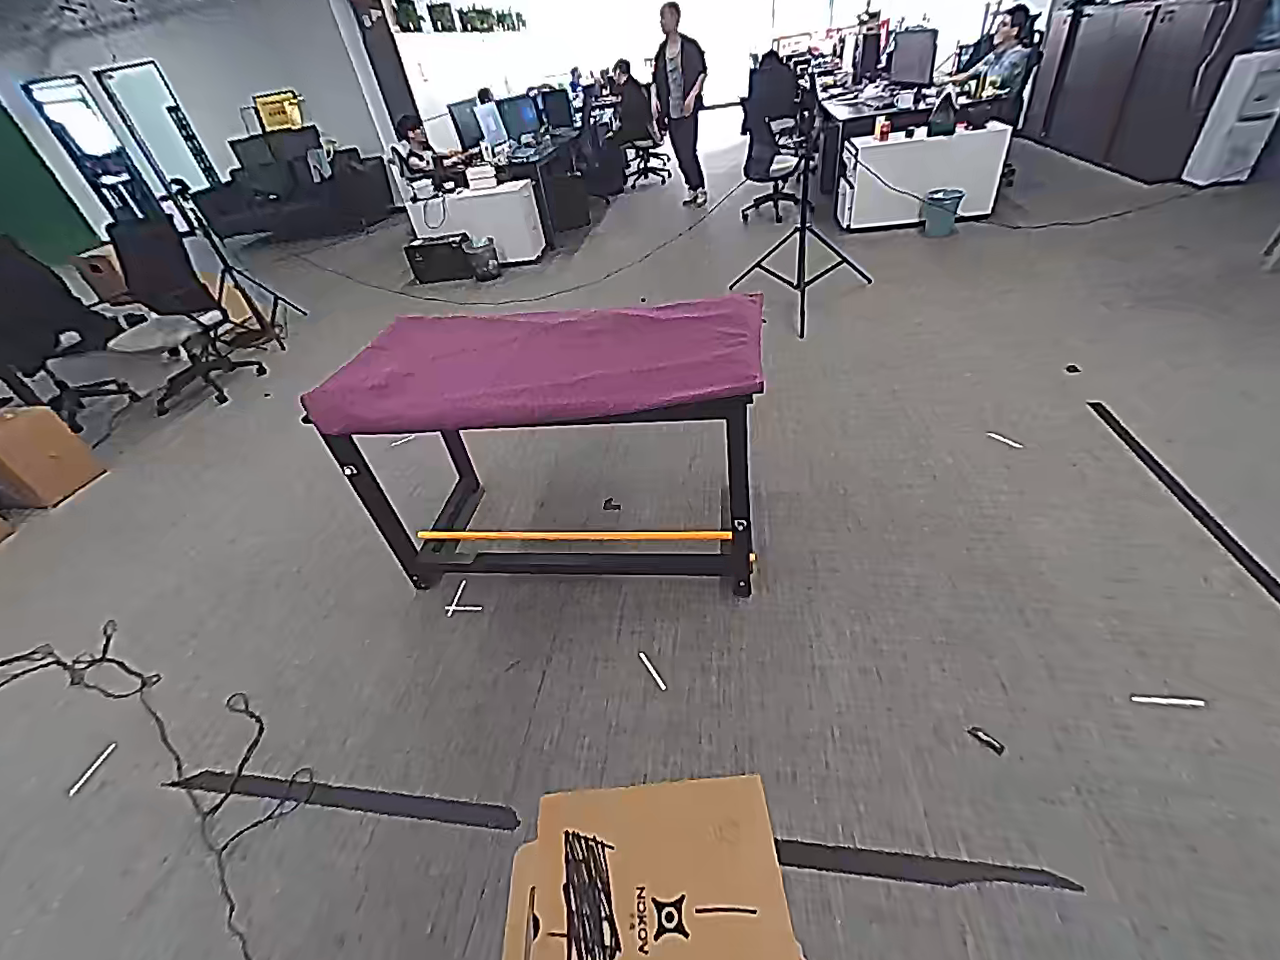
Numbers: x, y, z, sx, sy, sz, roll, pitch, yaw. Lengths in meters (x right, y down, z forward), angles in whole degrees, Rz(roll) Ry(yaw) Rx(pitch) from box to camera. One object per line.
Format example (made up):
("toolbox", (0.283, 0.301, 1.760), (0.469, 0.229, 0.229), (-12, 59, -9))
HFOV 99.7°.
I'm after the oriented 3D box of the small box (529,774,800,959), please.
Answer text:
("small box", (0.021, 0.352, 0.413), (0.179, 0.176, 0.168), (-6, 39, 1))
